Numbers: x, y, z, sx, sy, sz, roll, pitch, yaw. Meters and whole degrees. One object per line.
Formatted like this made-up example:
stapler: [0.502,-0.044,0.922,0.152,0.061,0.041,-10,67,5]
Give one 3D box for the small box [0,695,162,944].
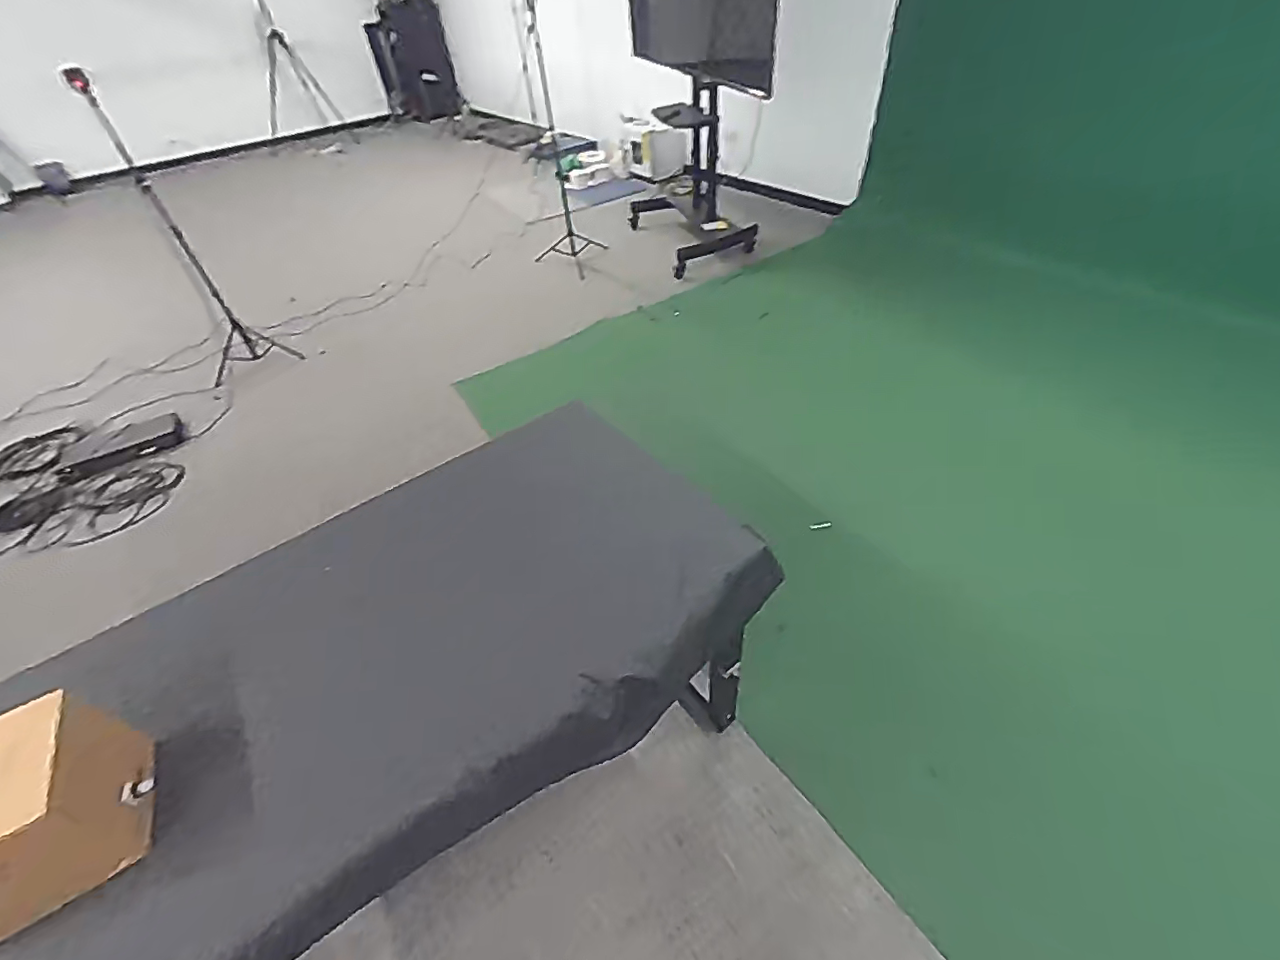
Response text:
small box: [-0.716,0.399,0.633,0.179,0.176,0.168,-27,49,-22]
